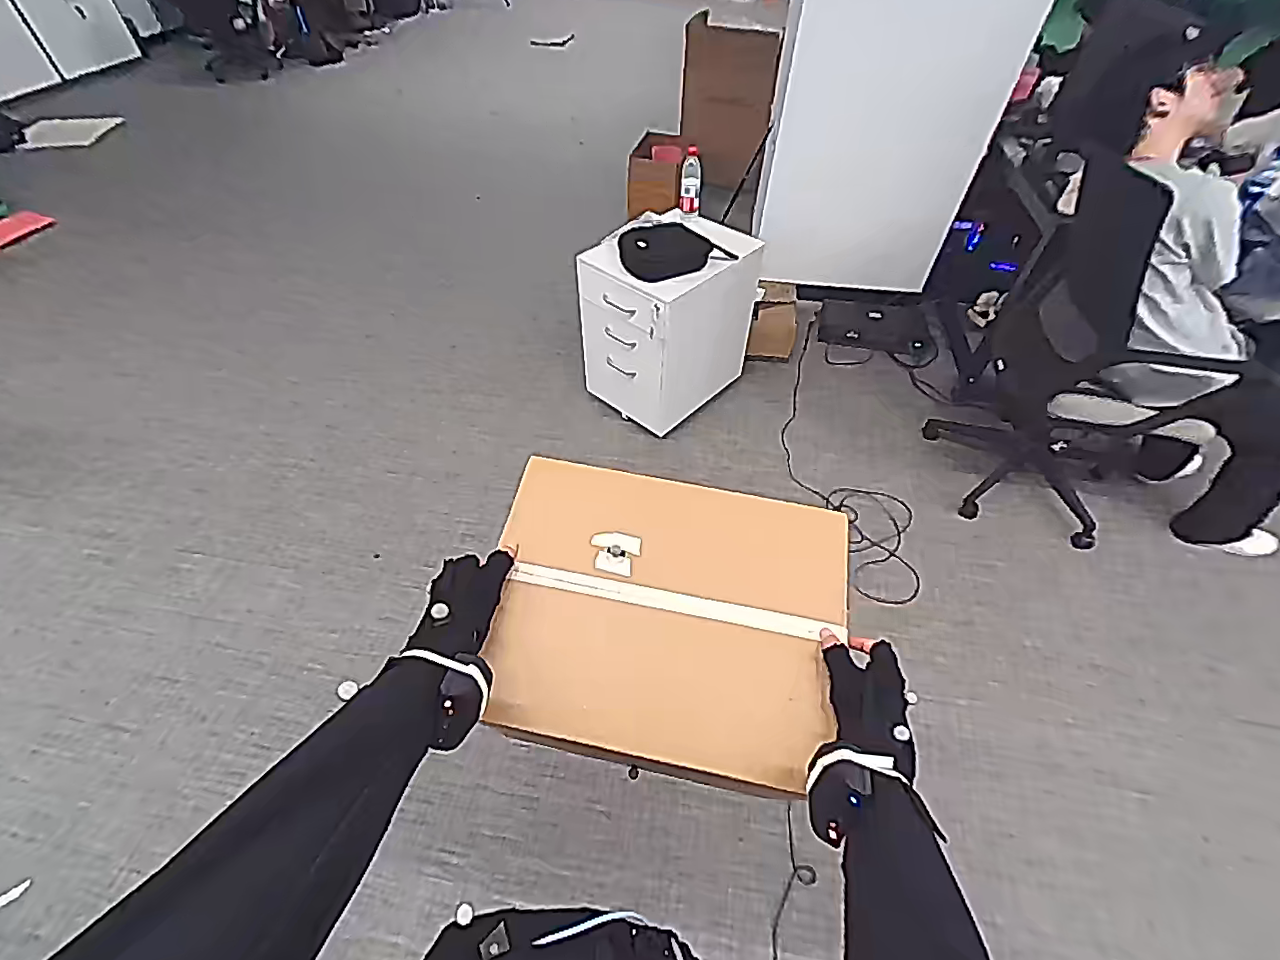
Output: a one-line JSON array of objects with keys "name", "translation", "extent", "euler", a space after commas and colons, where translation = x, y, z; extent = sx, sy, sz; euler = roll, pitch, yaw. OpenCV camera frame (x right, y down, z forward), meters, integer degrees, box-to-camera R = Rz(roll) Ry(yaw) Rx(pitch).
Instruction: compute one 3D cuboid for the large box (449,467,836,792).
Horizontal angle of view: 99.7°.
[{"name": "large box", "translation": [0.023, 0.217, 0.746], "extent": [0.408, 0.320, 0.320], "euler": [10, 60, 5]}]
